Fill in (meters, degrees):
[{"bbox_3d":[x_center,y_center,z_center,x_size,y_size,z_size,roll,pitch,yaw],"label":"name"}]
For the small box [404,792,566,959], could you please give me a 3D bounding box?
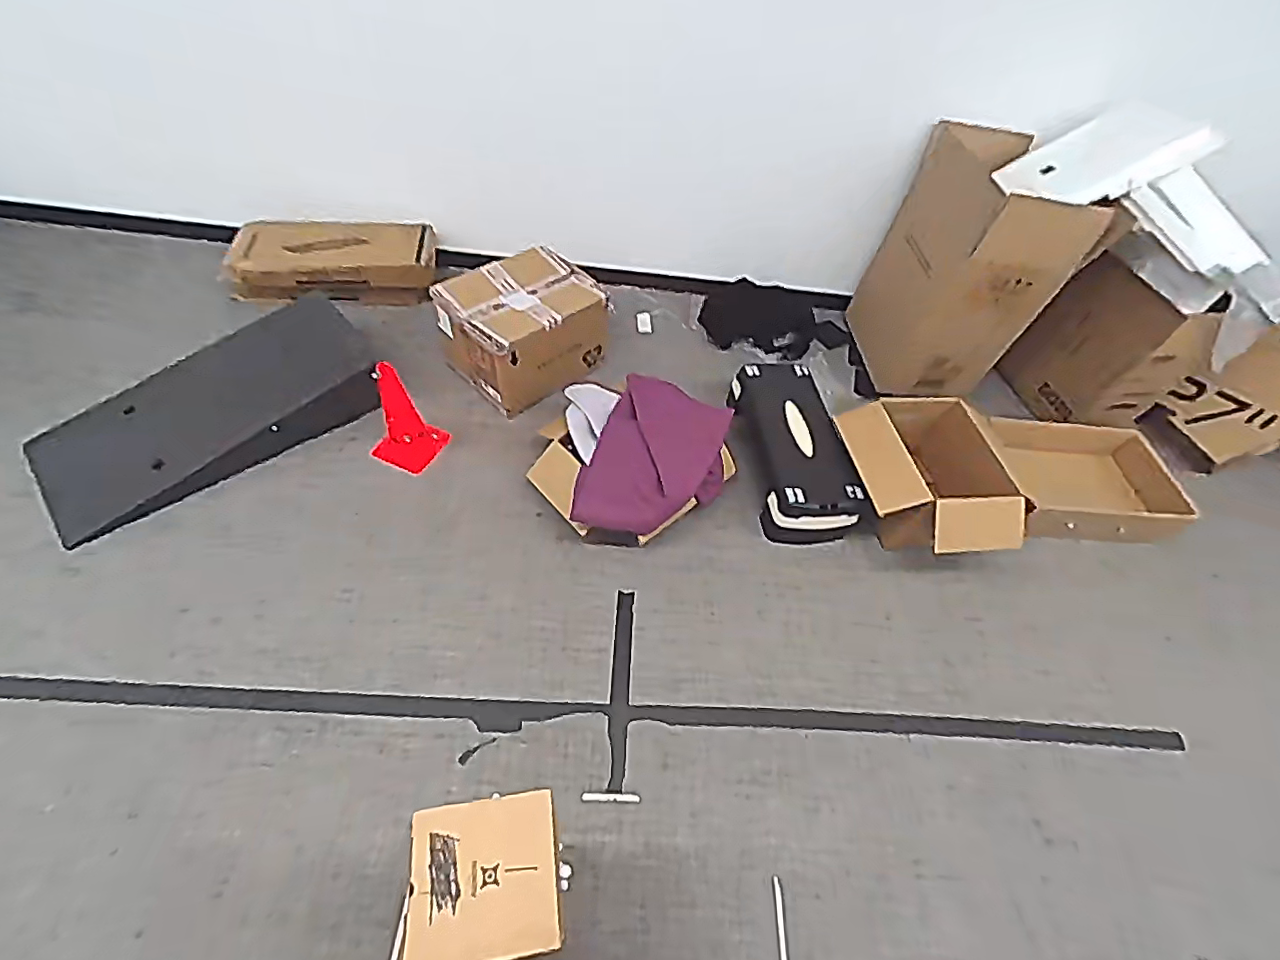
[{"bbox_3d":[-0.192,0.530,0.712,0.179,0.176,0.168,-4,53,-10],"label":"small box"}]
